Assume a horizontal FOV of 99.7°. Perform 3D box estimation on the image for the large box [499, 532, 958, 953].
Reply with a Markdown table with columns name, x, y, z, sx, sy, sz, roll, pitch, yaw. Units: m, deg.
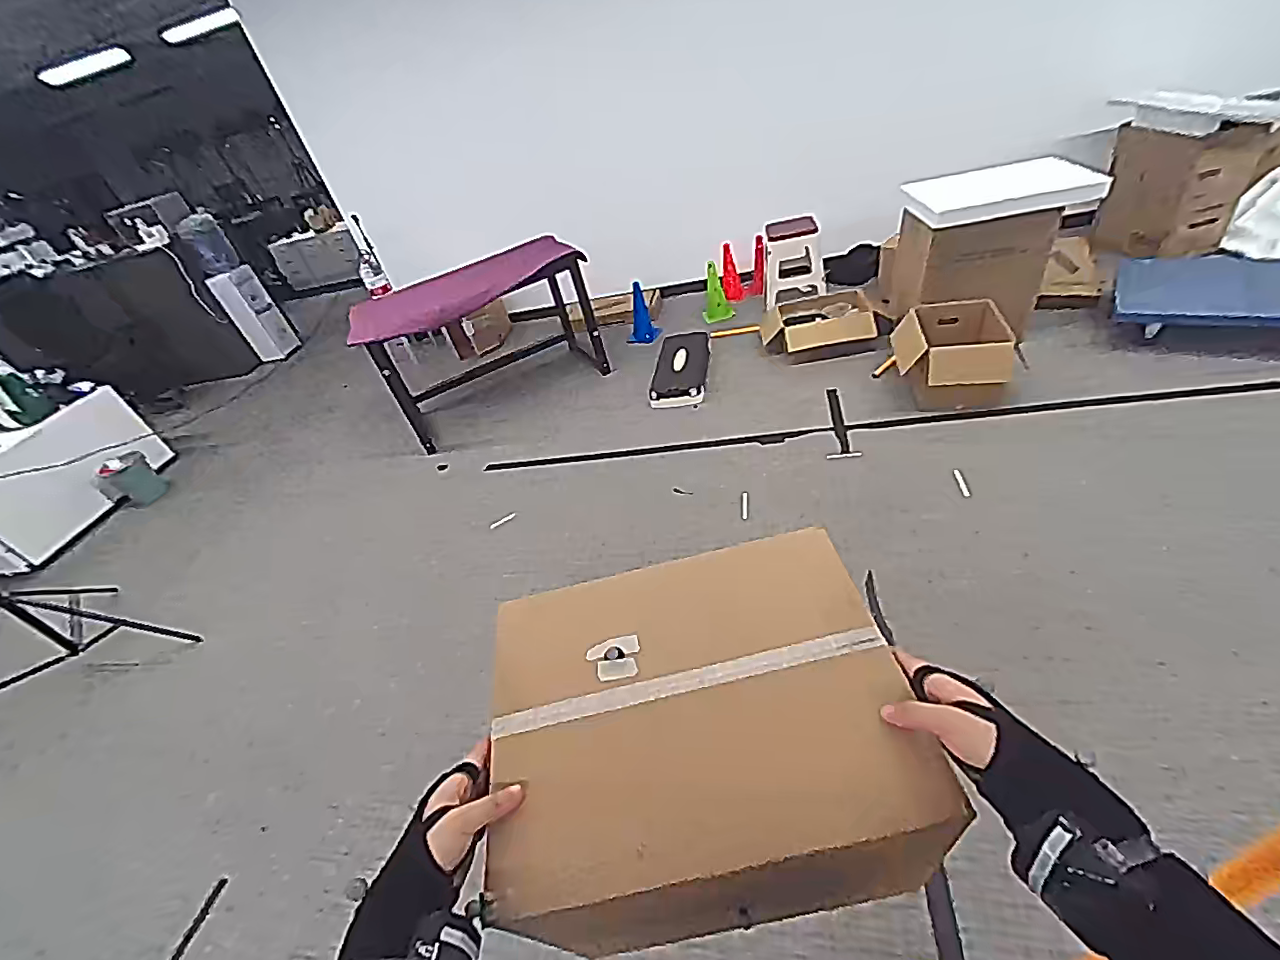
| name | x | y | z | sx | sy | sz | roll | pitch | yaw |
| --- | --- | --- | --- | --- | --- | --- | --- | --- | --- |
| large box | 0.081 | 0.319 | 0.655 | 0.408 | 0.320 | 0.320 | -15 | 42 | 2 |
